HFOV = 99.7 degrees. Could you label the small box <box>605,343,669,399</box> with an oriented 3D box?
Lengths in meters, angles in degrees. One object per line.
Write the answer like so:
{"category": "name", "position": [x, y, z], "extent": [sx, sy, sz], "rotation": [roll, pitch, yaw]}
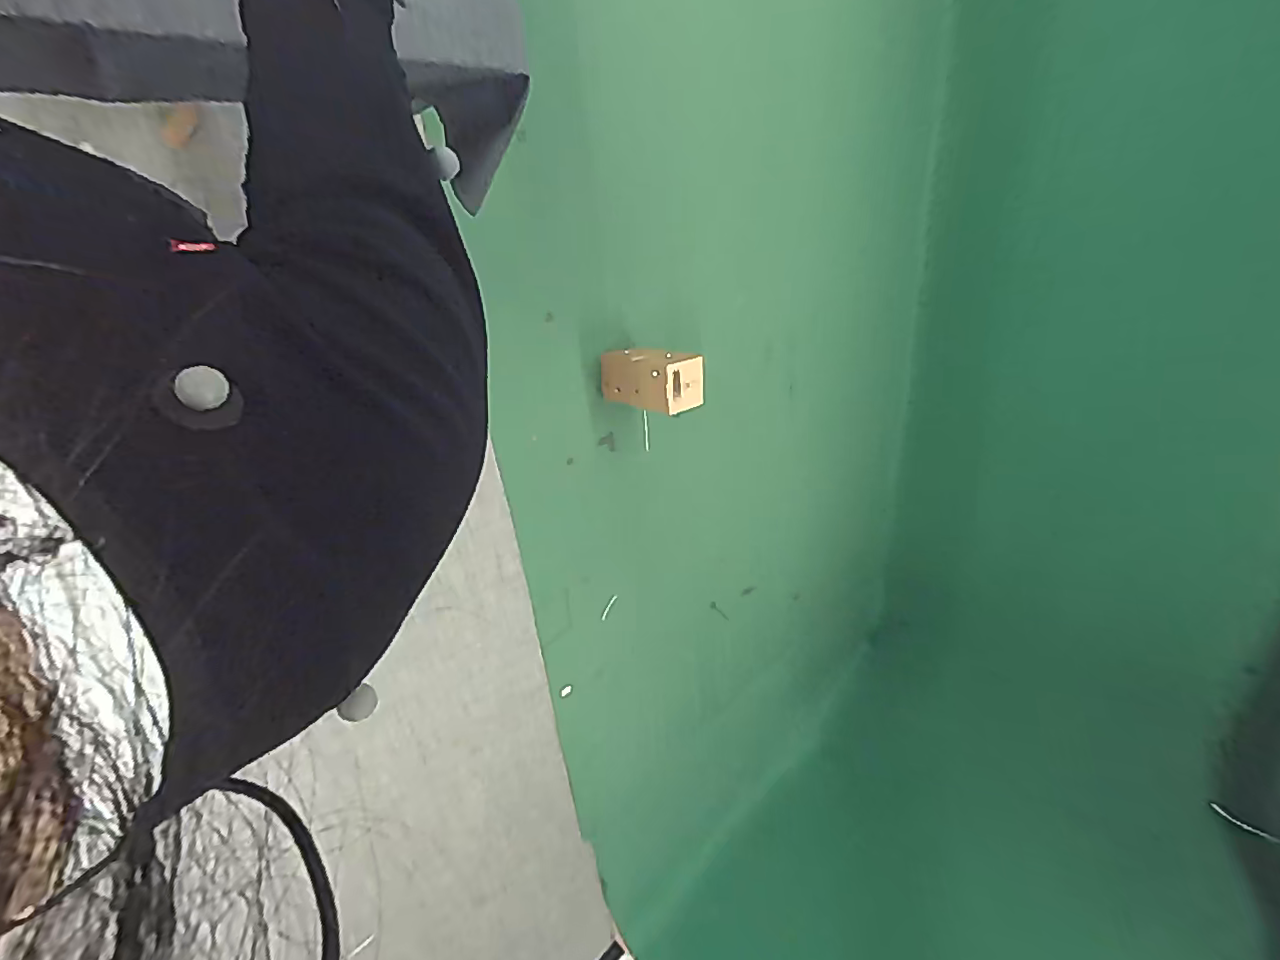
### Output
{"category": "small box", "position": [-0.015, -0.393, 1.929], "extent": [0.179, 0.176, 0.168], "rotation": [-21, 119, -38]}
